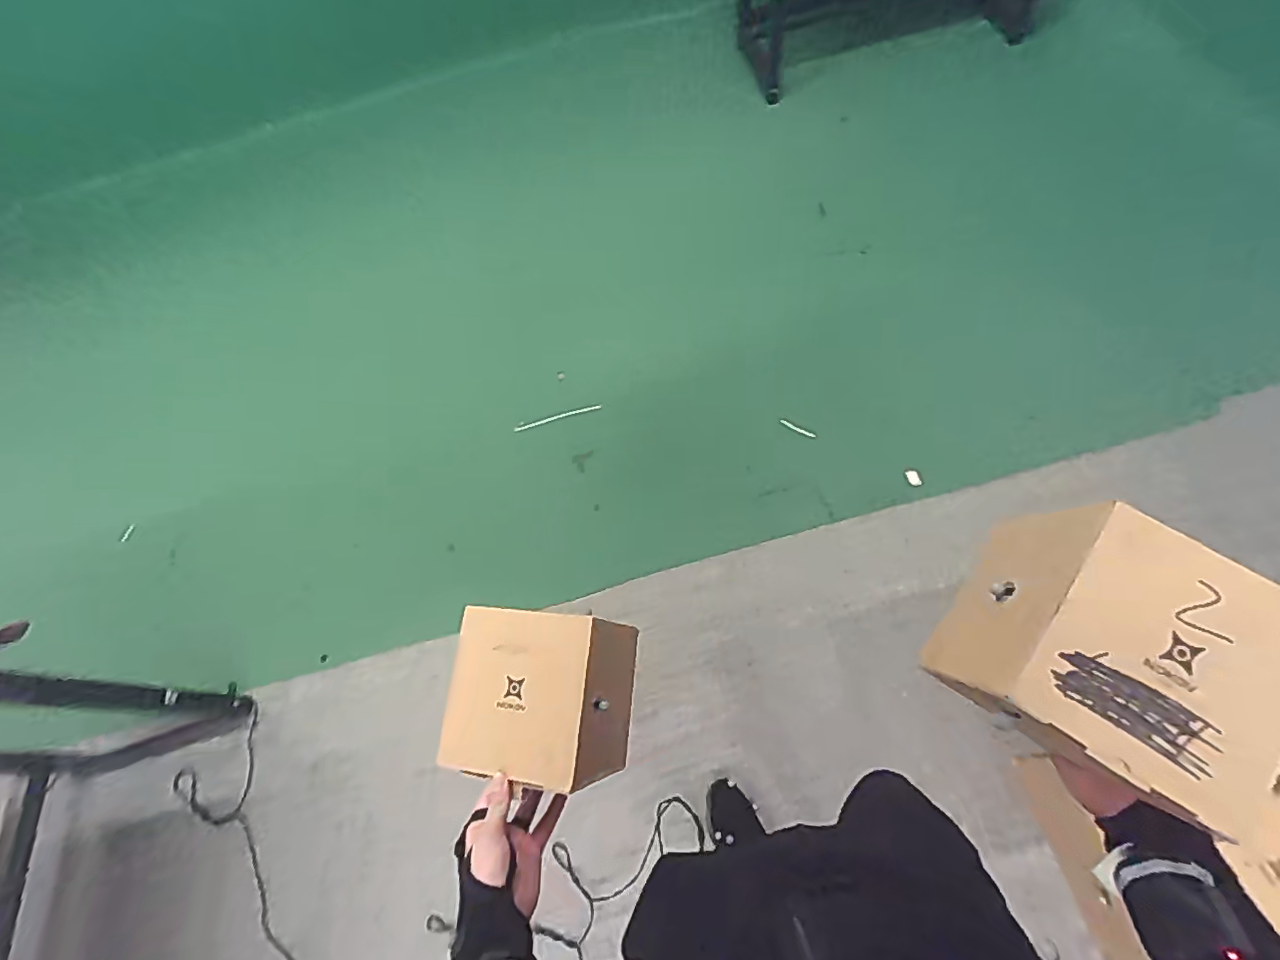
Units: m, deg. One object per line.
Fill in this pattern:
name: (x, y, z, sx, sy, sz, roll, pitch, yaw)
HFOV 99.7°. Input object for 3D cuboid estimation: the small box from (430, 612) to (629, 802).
small box: (-0.120, 0.263, 0.659, 0.168, 0.176, 0.179, 0, 71, 18)
